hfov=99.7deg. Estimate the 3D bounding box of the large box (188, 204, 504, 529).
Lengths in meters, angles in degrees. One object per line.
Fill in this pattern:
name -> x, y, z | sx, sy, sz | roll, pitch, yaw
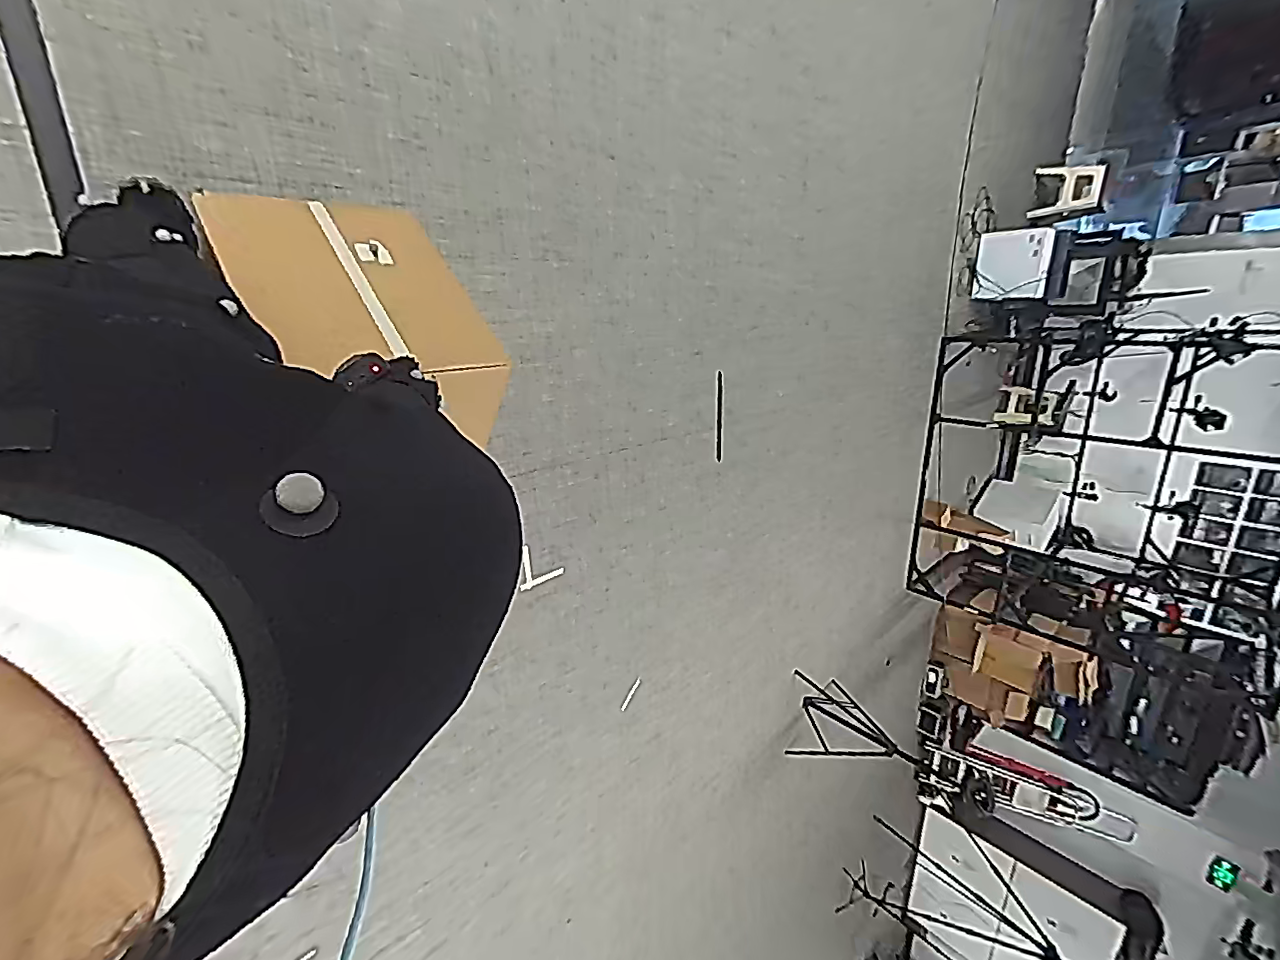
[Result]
large box -> -0.487, -0.193, 0.904 | 0.320, 0.408, 0.320 | -17, 150, -42
